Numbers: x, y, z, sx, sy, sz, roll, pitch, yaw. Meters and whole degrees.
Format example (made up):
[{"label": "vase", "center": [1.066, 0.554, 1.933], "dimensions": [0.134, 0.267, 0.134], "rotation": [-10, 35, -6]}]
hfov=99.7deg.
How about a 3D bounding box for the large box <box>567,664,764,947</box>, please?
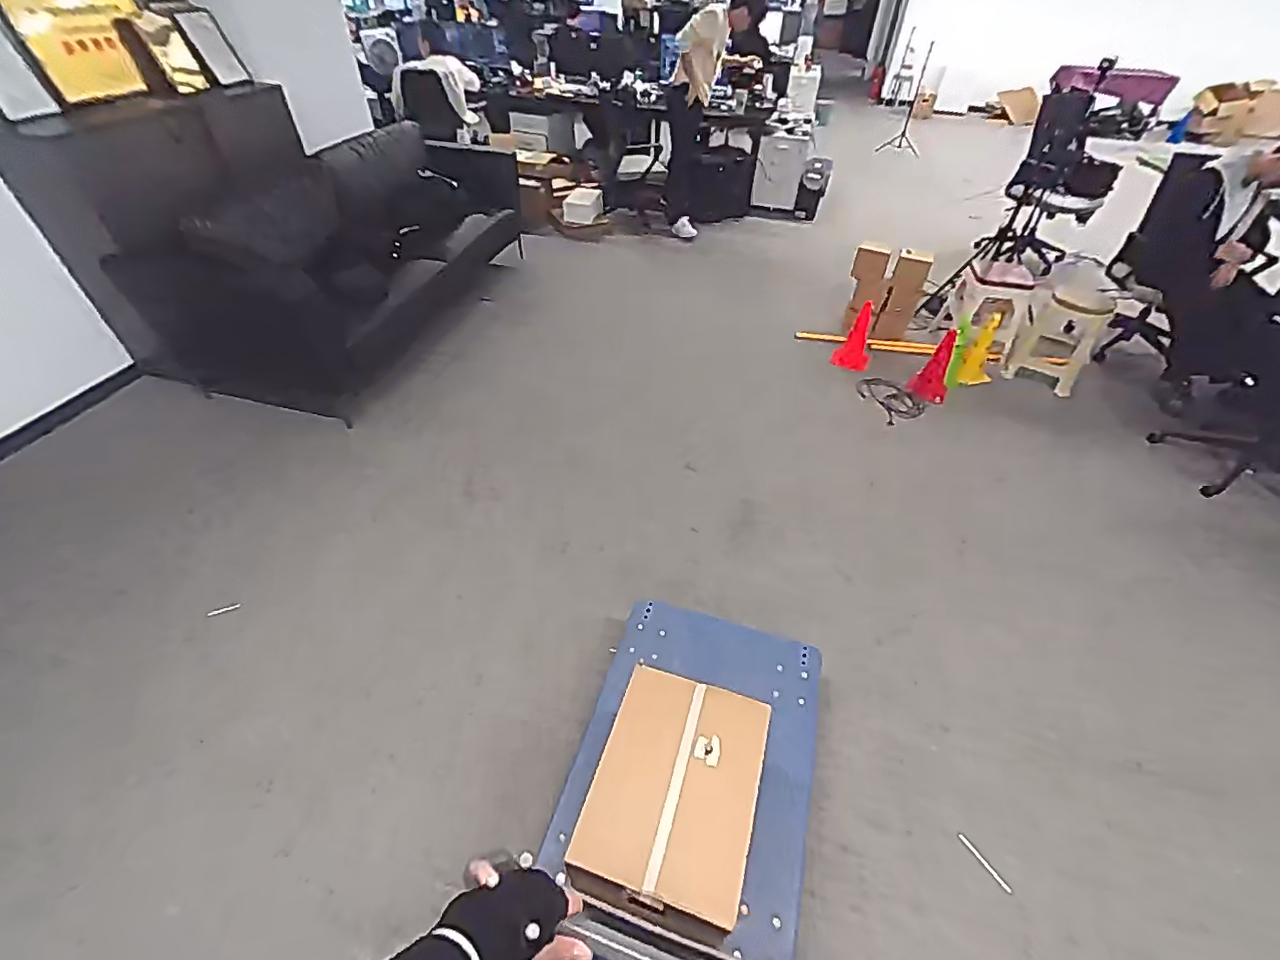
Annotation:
[{"label": "large box", "center": [0.067, 0.693, 1.175], "dimensions": [0.320, 0.320, 0.408], "rotation": [14, 44, 12]}]
